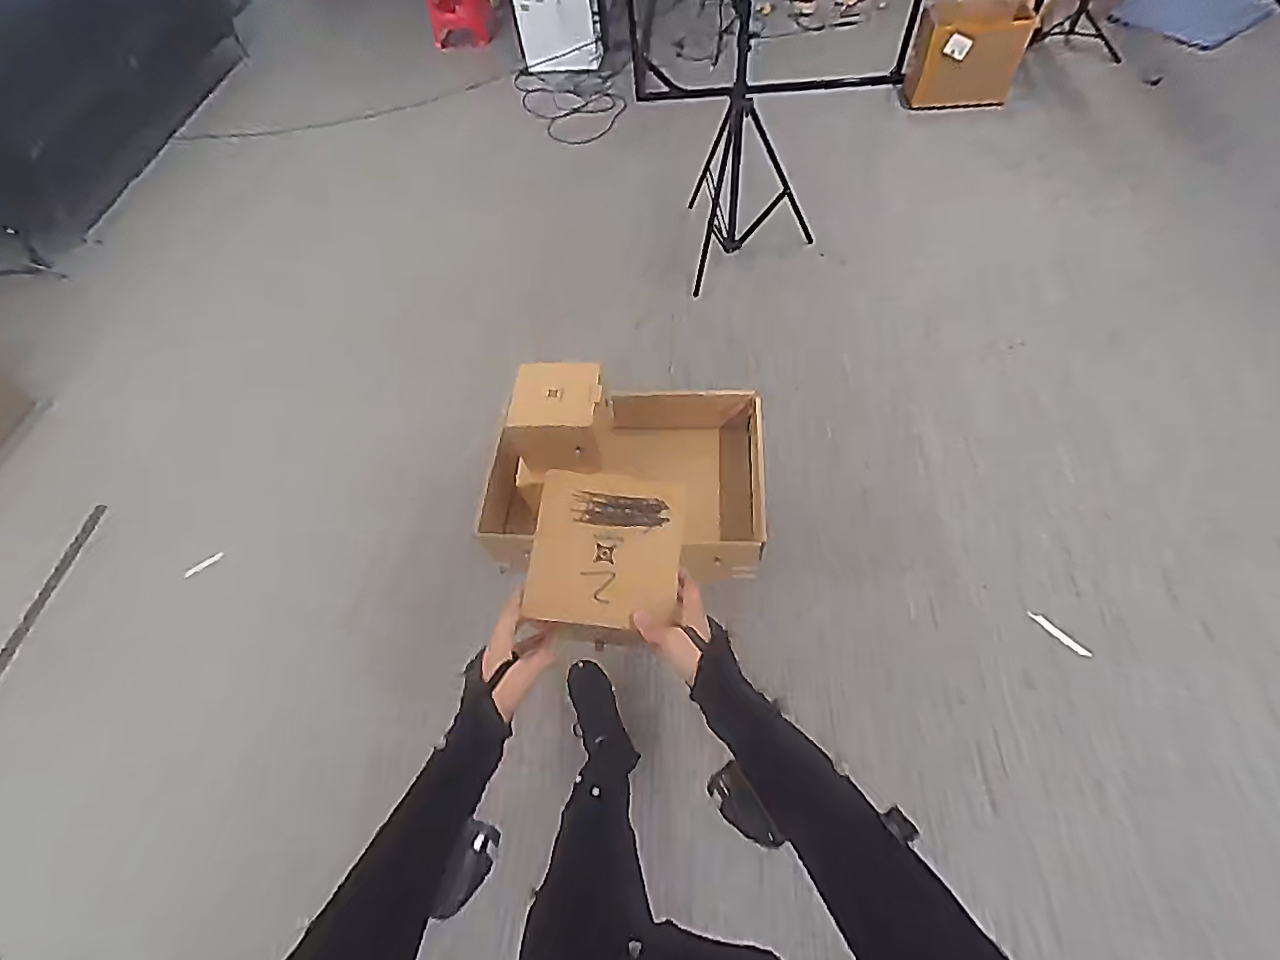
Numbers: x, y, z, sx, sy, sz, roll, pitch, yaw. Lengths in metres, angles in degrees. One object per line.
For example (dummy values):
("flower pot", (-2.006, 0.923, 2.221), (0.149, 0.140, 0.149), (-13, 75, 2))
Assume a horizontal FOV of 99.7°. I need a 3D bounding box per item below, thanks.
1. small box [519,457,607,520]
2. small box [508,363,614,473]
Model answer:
("small box", (-0.172, -0.023, 1.269), (0.168, 0.176, 0.179), (-4, 59, 5))
("small box", (-0.155, -0.126, 1.137), (0.179, 0.176, 0.168), (1, 58, 7))
